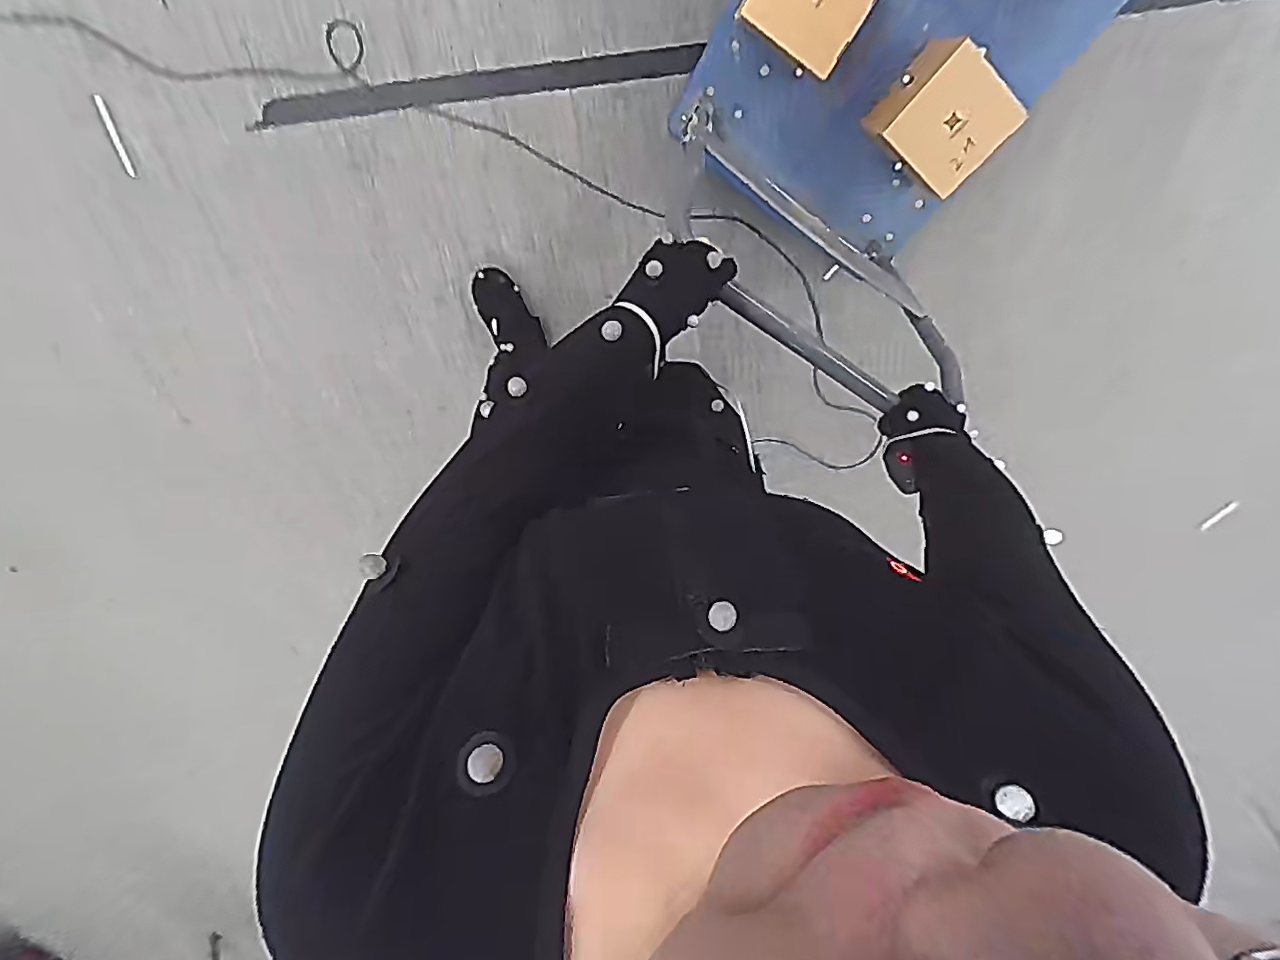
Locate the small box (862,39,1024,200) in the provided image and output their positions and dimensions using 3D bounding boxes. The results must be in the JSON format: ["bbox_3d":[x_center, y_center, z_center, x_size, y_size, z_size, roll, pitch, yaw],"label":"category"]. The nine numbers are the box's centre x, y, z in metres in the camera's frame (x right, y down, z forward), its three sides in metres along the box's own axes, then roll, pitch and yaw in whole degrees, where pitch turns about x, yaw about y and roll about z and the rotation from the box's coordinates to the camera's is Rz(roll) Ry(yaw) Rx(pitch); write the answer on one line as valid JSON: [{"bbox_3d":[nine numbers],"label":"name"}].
[{"bbox_3d":[0.538,-0.652,0.987,0.179,0.176,0.168,33,124,-19],"label":"small box"}]

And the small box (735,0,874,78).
[{"bbox_3d":[0.275,-0.804,0.894,0.179,0.176,0.168,26,125,-16],"label":"small box"}]
